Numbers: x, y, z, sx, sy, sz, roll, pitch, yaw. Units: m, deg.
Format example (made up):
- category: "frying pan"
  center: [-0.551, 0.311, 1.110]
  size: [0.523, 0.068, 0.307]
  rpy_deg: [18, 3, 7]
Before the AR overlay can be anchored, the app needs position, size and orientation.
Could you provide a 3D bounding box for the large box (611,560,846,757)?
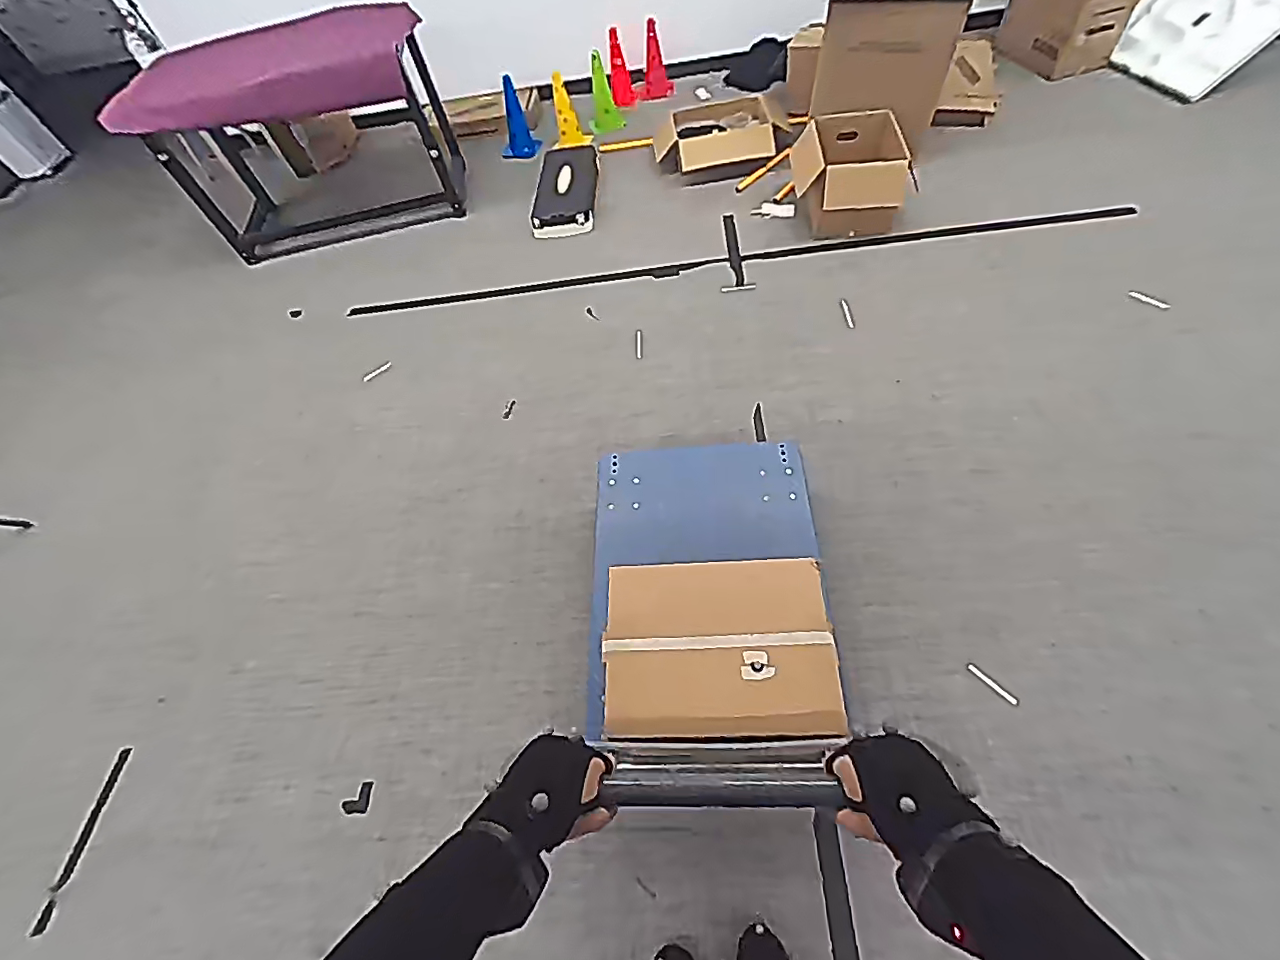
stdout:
- category: "large box"
  center: [0.158, 0.379, 1.114]
  size: [0.408, 0.320, 0.320]
  rpy_deg: [-4, 59, 5]
